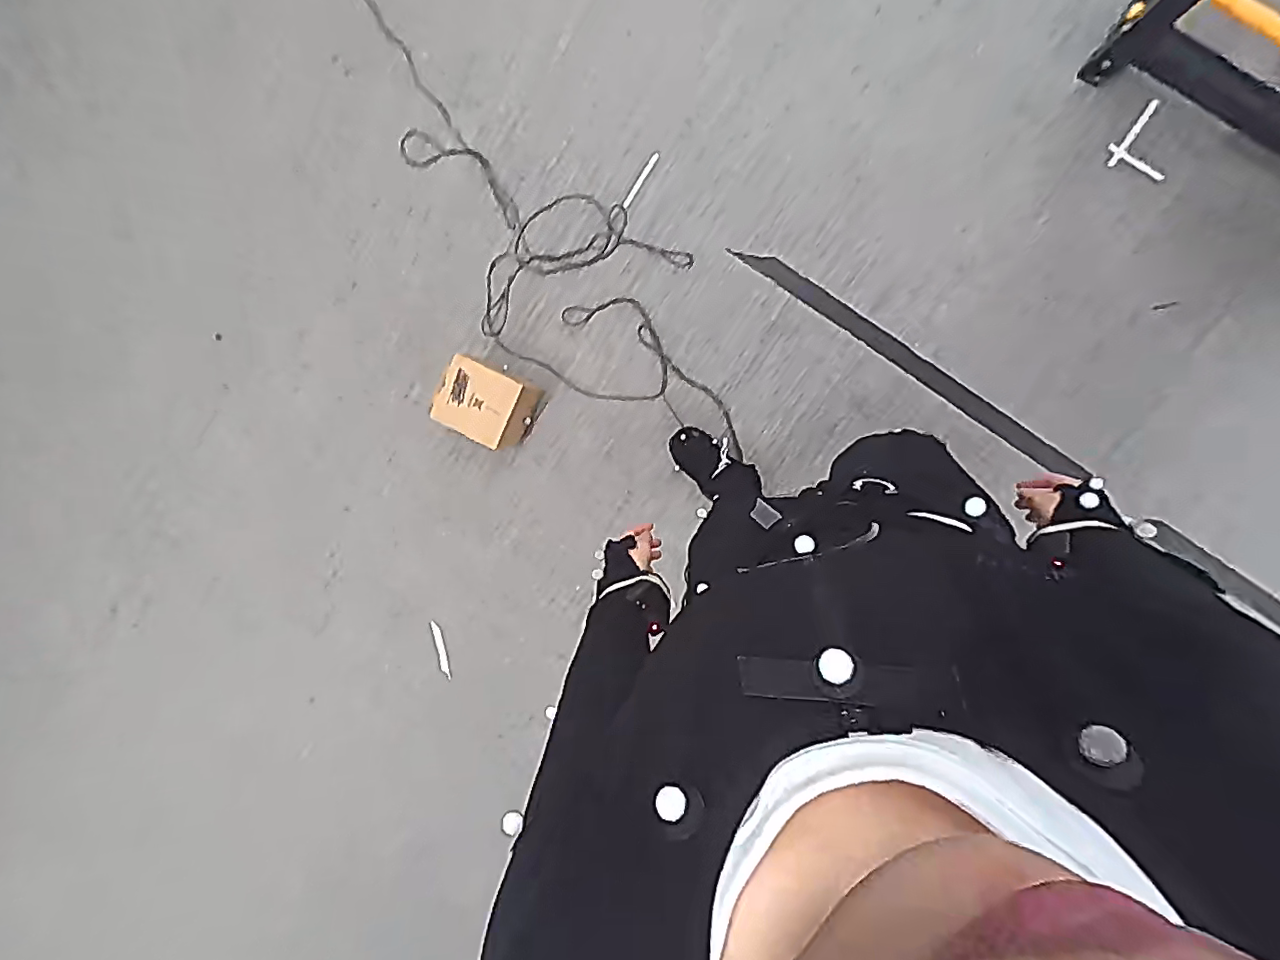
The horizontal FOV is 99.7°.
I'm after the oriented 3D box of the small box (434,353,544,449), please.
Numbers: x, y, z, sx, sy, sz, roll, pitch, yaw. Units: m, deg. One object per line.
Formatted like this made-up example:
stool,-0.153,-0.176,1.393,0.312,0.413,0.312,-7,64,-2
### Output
small box,-0.360,-0.189,1.318,0.179,0.176,0.168,27,100,2
